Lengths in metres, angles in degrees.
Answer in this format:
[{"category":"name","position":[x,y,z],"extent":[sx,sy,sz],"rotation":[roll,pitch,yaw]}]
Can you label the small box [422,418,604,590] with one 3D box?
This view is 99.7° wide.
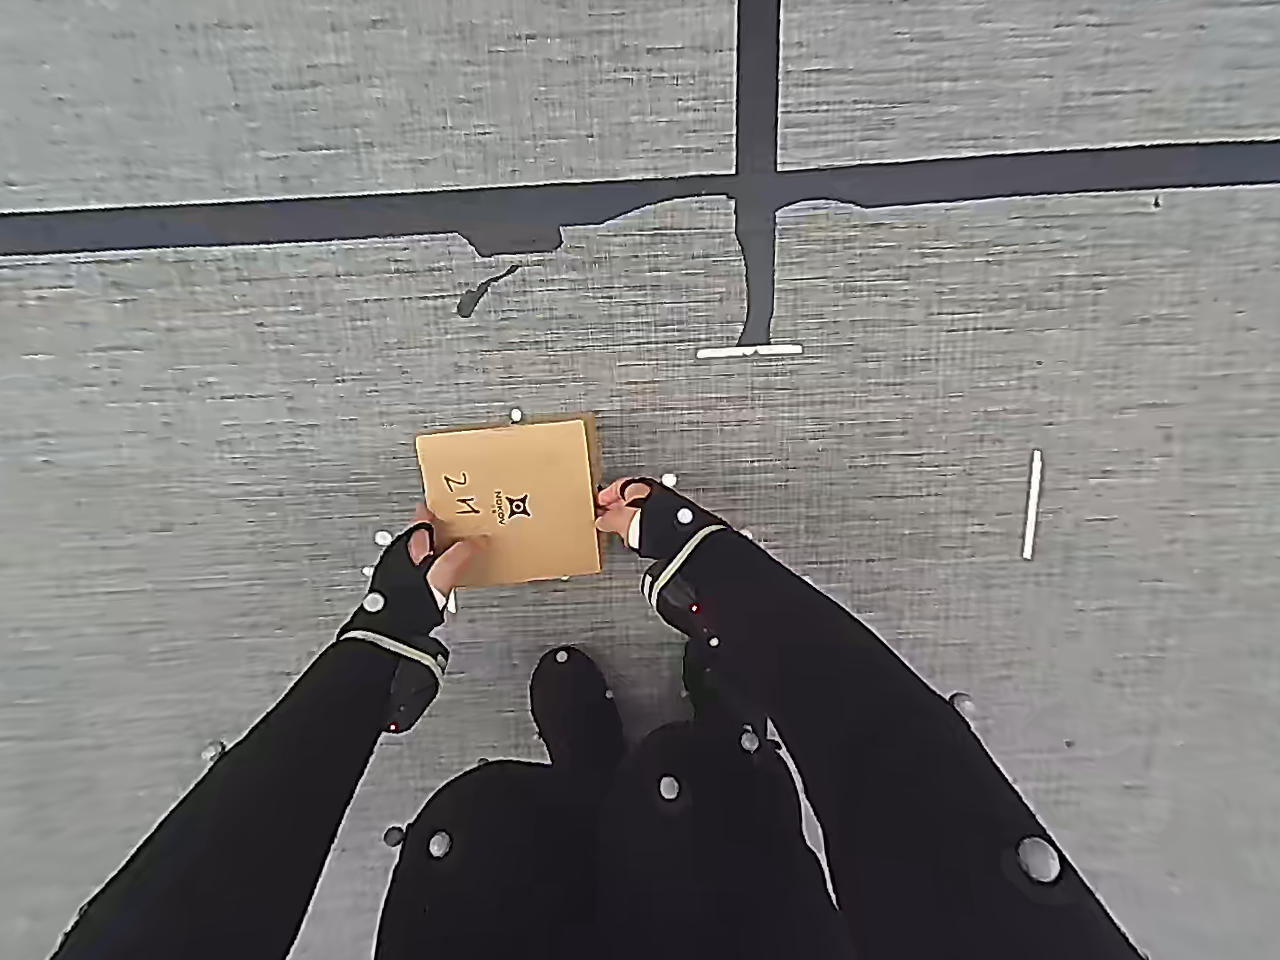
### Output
[{"category":"small box","position":[-0.135,0.017,0.646],"extent":[0.179,0.176,0.168],"rotation":[-5,100,0]}]
